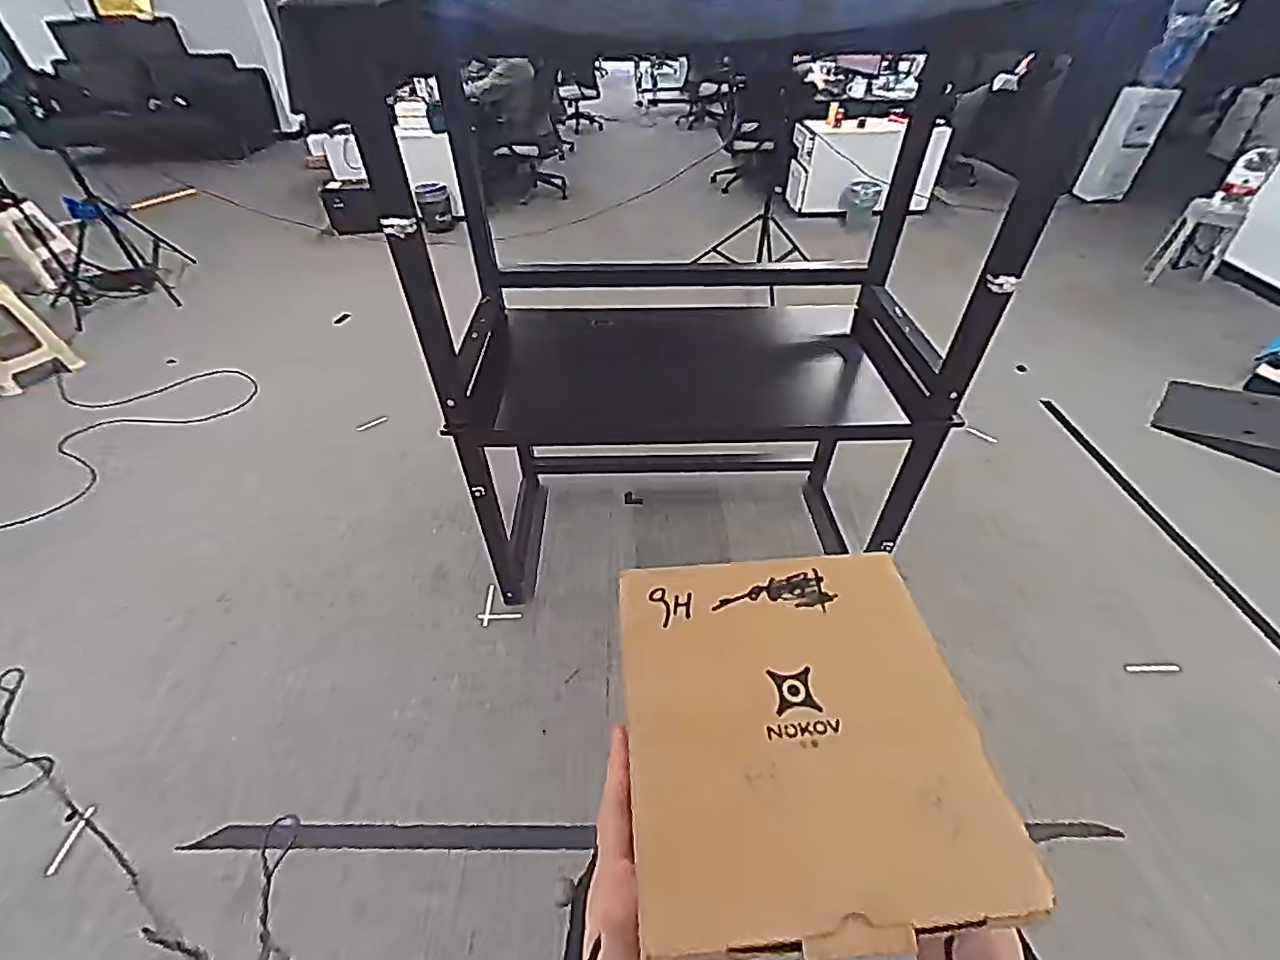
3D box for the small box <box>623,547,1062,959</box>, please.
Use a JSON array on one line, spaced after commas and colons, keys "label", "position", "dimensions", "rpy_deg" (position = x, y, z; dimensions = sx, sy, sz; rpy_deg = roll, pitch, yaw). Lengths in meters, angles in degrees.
[{"label": "small box", "position": [0.077, 0.161, 0.319], "dimensions": [0.168, 0.176, 0.179], "rpy_deg": [-3, 48, -4]}]
